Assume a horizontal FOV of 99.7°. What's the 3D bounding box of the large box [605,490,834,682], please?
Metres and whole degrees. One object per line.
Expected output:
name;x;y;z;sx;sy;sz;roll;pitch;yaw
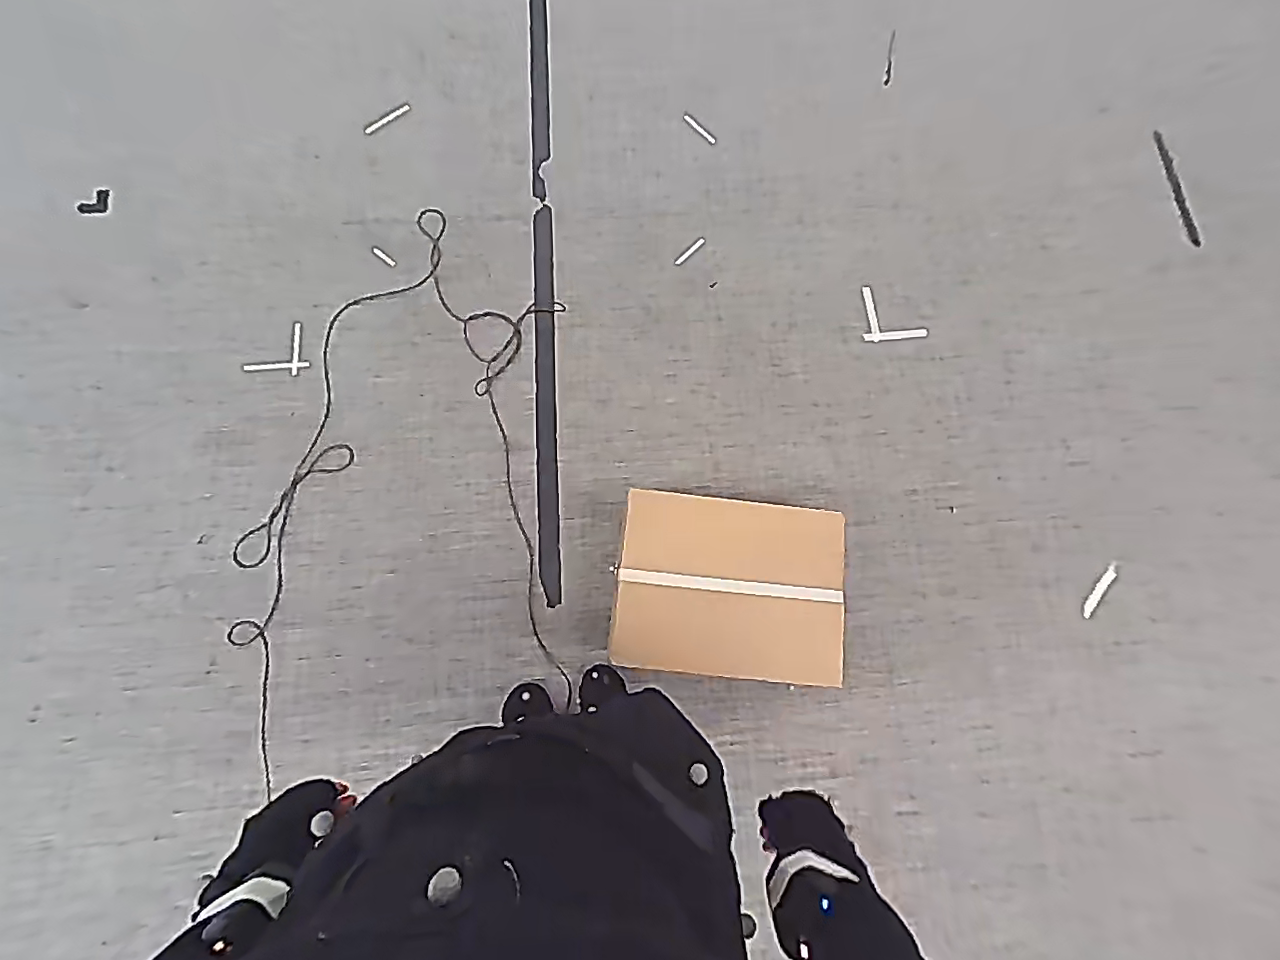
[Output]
large box;0.144;0.218;1.116;0.408;0.320;0.320;7;76;-3
